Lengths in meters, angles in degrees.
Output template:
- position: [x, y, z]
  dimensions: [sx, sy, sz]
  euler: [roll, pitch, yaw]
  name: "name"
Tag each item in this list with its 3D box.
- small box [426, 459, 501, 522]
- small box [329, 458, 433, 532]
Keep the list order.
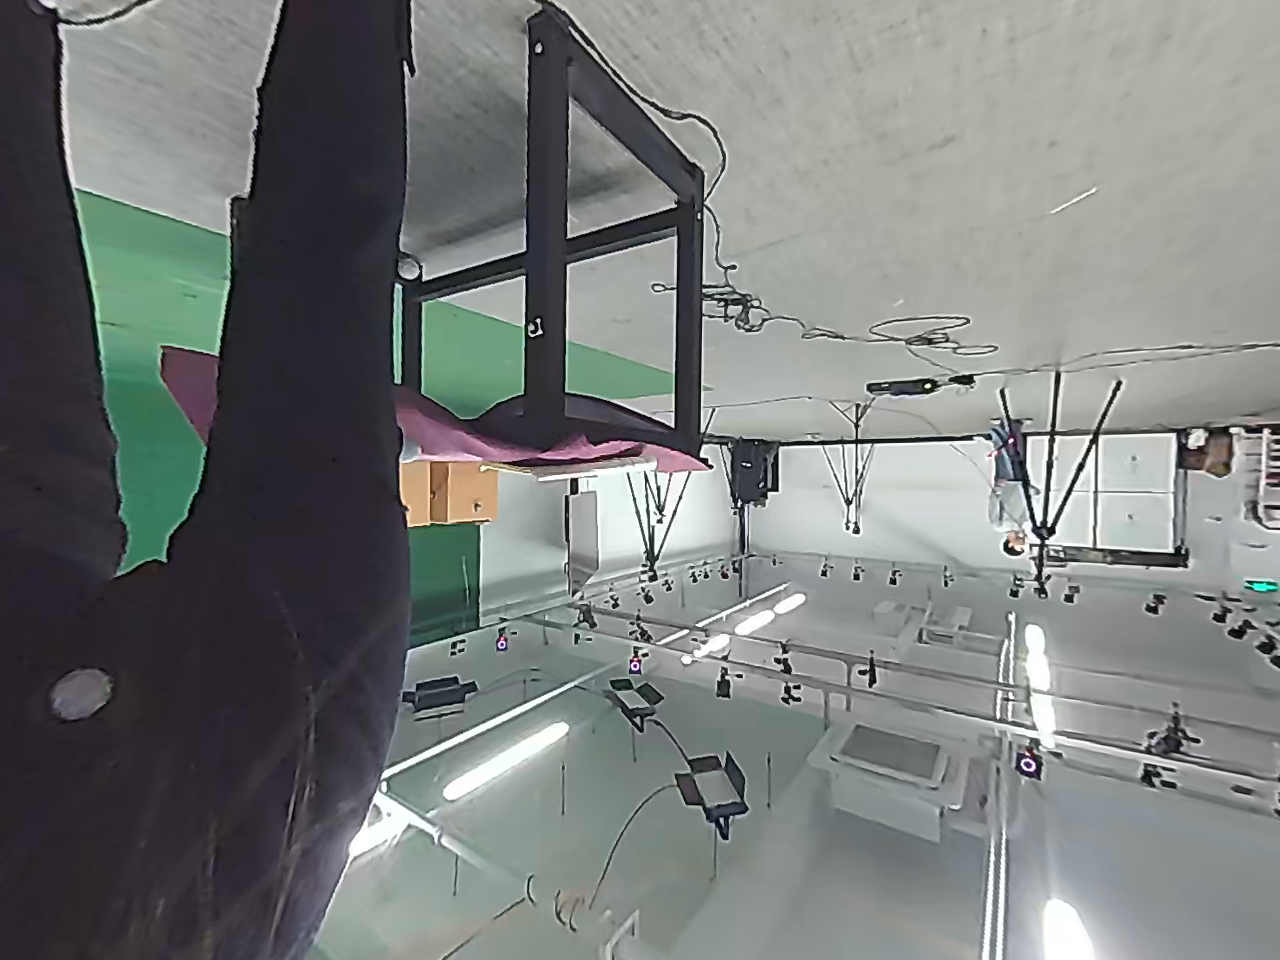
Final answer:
- position: [-0.514, 0.028, 1.528]
  dimensions: [0.168, 0.176, 0.179]
  euler: [0, -179, 34]
  name: "small box"
- position: [-0.634, 0.033, 1.333]
  dimensions: [0.168, 0.176, 0.179]
  euler: [0, 180, 28]
  name: "small box"
